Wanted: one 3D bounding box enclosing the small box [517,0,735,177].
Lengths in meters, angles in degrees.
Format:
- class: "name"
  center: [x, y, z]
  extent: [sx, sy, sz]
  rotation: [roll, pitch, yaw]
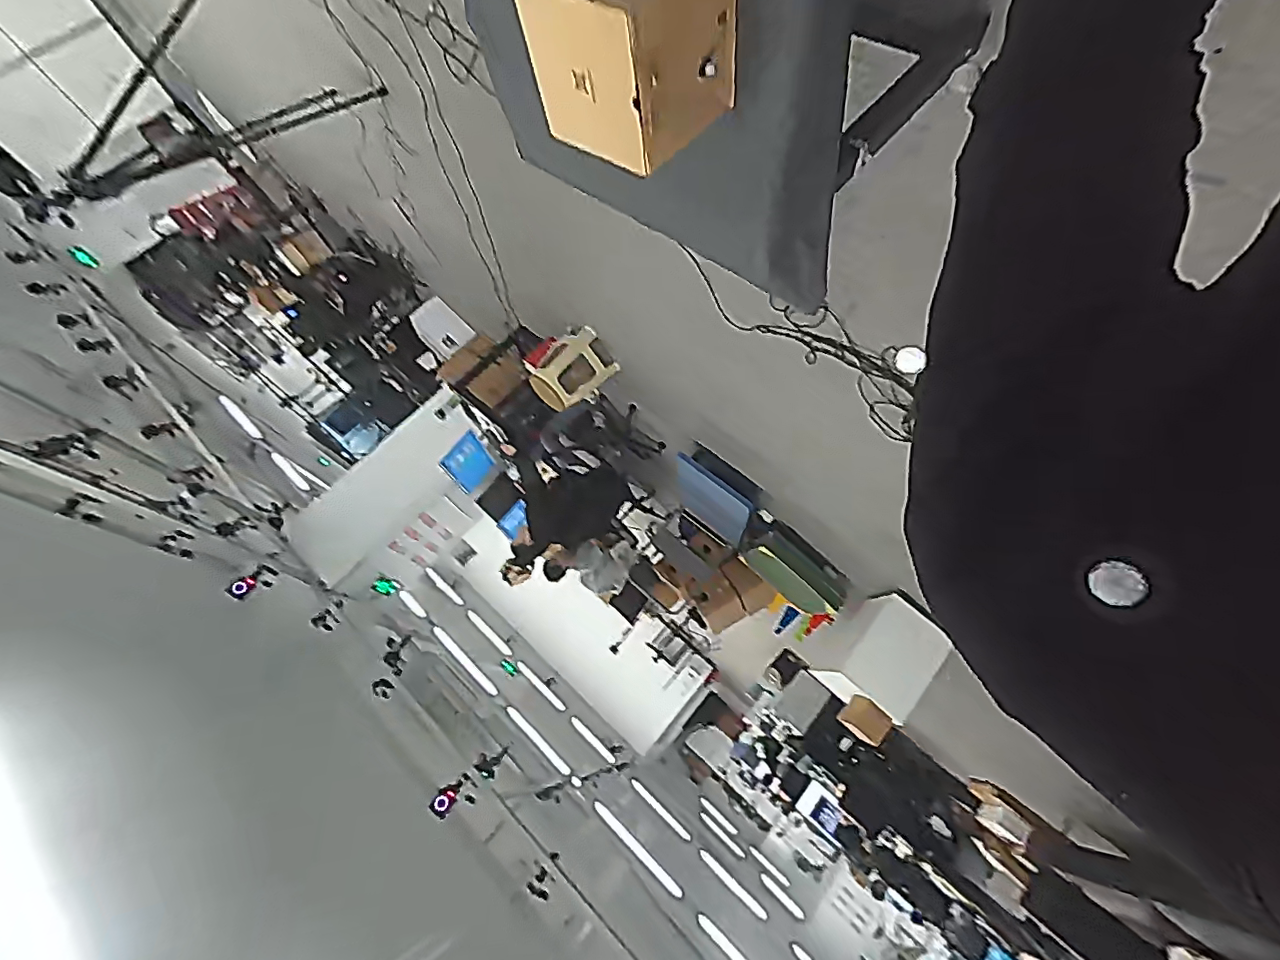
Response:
- class: "small box"
  center: [-0.009, -0.502, 0.632]
  extent: [0.179, 0.176, 0.168]
  rotation: [36, 163, 24]
